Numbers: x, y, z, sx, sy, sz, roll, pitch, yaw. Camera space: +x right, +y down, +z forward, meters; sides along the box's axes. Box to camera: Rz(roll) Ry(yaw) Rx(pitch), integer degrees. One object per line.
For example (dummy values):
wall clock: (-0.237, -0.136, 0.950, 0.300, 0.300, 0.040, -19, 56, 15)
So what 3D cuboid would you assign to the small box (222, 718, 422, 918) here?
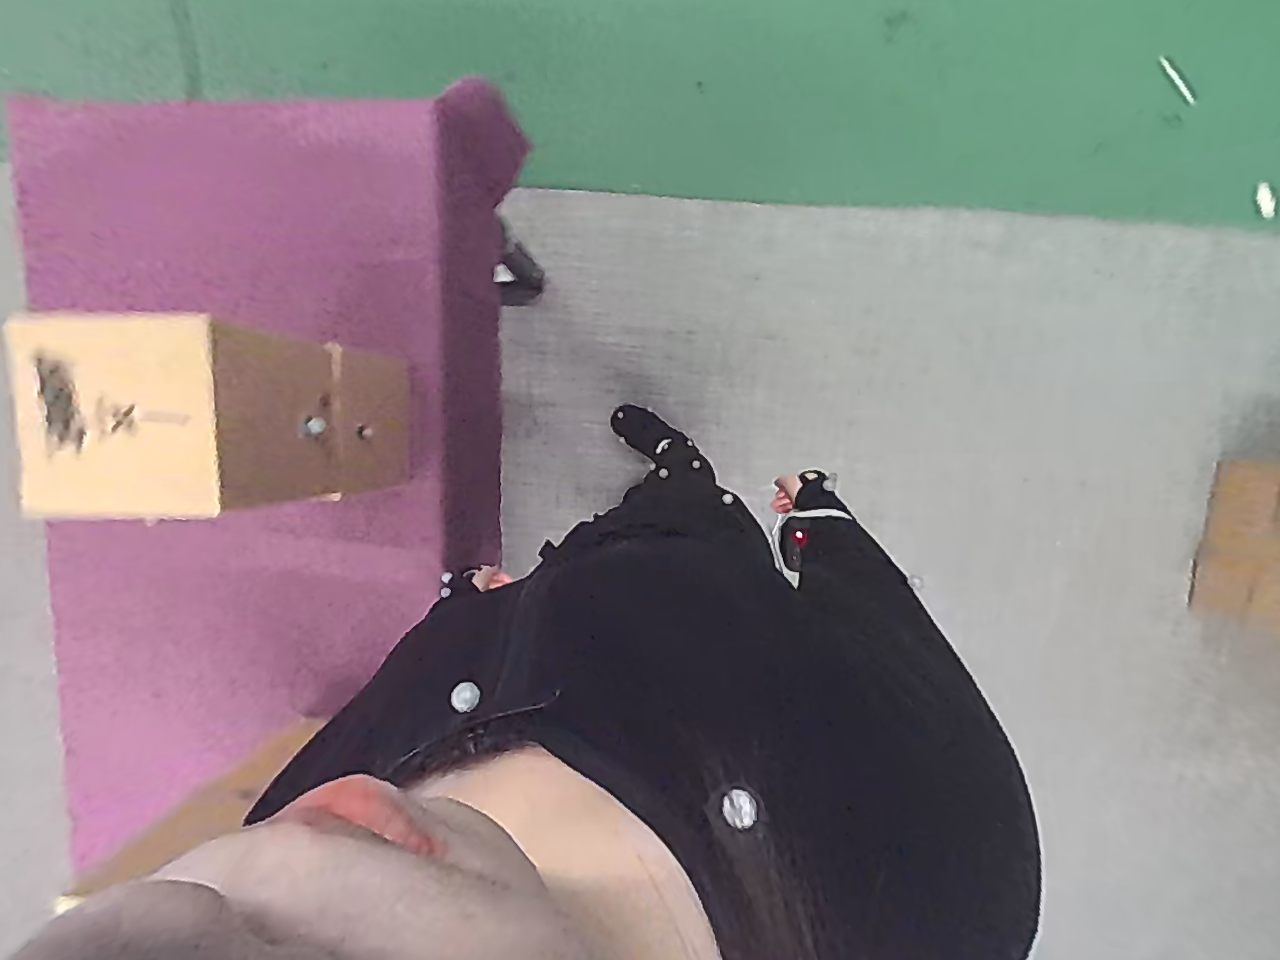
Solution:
small box: (-0.422, 0.447, 0.741, 0.179, 0.176, 0.168, 1, 95, 2)

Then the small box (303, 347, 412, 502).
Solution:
small box: (-0.407, -0.073, 0.689, 0.168, 0.176, 0.179, 2, 95, 2)

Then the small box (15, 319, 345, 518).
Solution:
small box: (-0.422, -0.056, 0.526, 0.179, 0.176, 0.168, -1, 96, 2)
